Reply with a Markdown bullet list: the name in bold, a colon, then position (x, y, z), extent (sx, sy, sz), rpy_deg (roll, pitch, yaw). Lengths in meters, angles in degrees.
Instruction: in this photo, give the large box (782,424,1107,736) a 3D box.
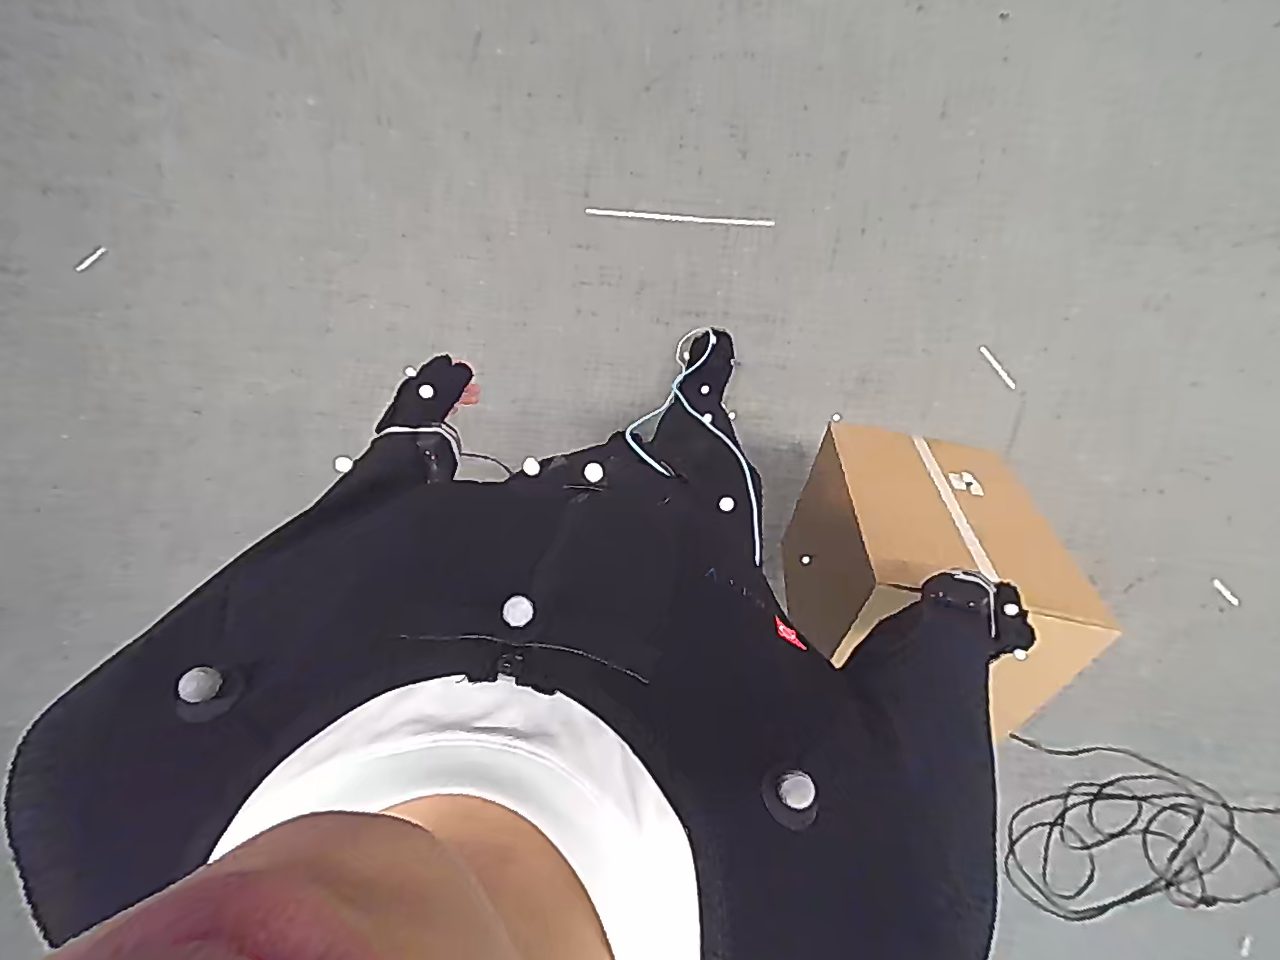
- **large box**: position (0.451, 0.157, 0.935), extent (0.320, 0.408, 0.320), rpy_deg (12, 127, 1)
